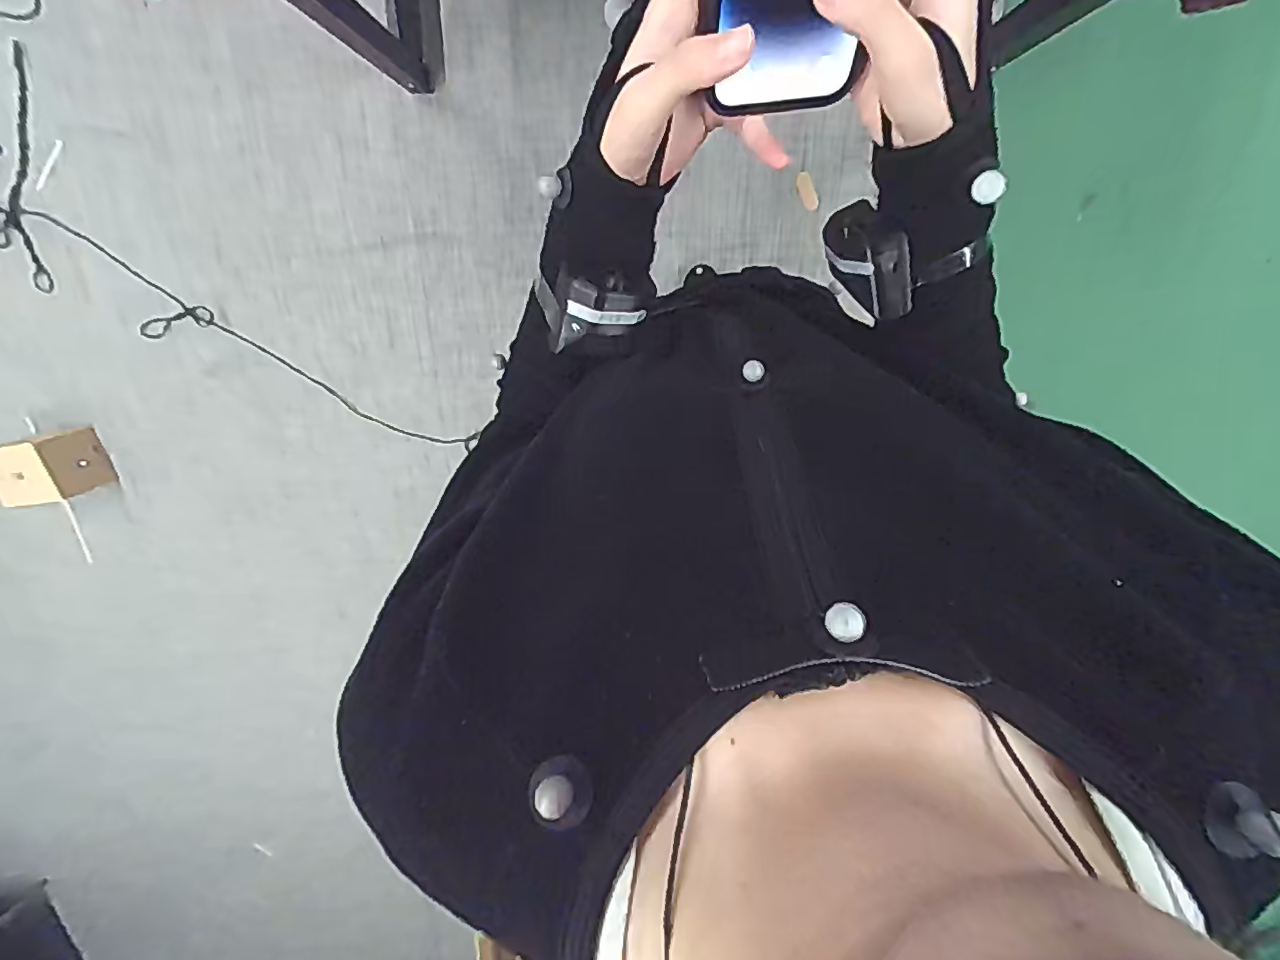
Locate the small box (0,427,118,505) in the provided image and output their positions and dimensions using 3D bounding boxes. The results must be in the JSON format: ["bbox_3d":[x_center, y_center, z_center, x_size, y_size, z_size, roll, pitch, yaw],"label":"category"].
[{"bbox_3d":[-1.621,-0.044,1.504,0.179,0.176,0.168,-6,111,4],"label":"small box"}]
